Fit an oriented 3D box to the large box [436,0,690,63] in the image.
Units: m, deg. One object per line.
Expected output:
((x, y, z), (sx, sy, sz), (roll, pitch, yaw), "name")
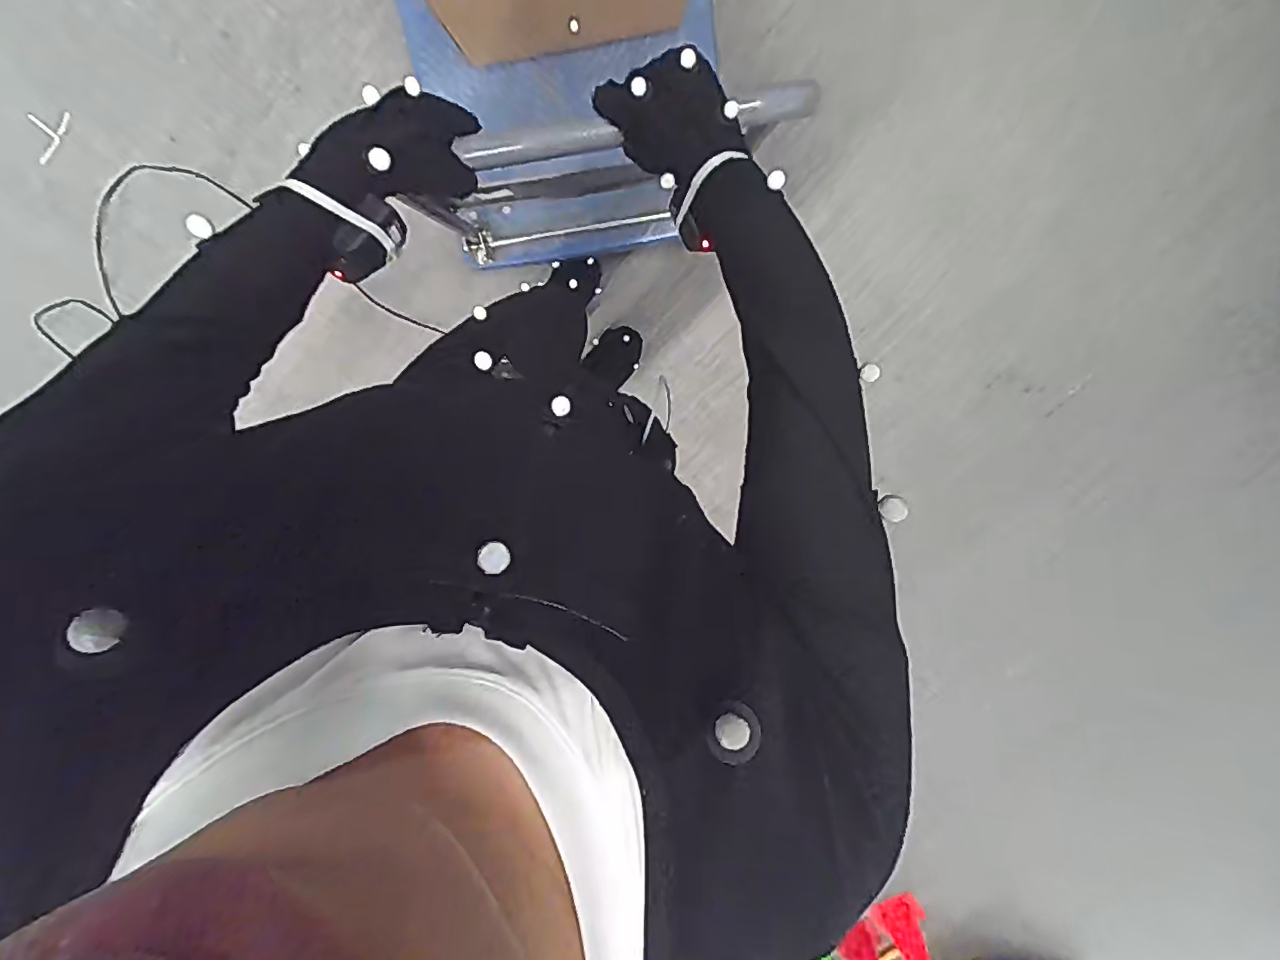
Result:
((-0.129, -0.910, 0.836), (0.408, 0.320, 0.320), (-10, 112, 2), "large box")
